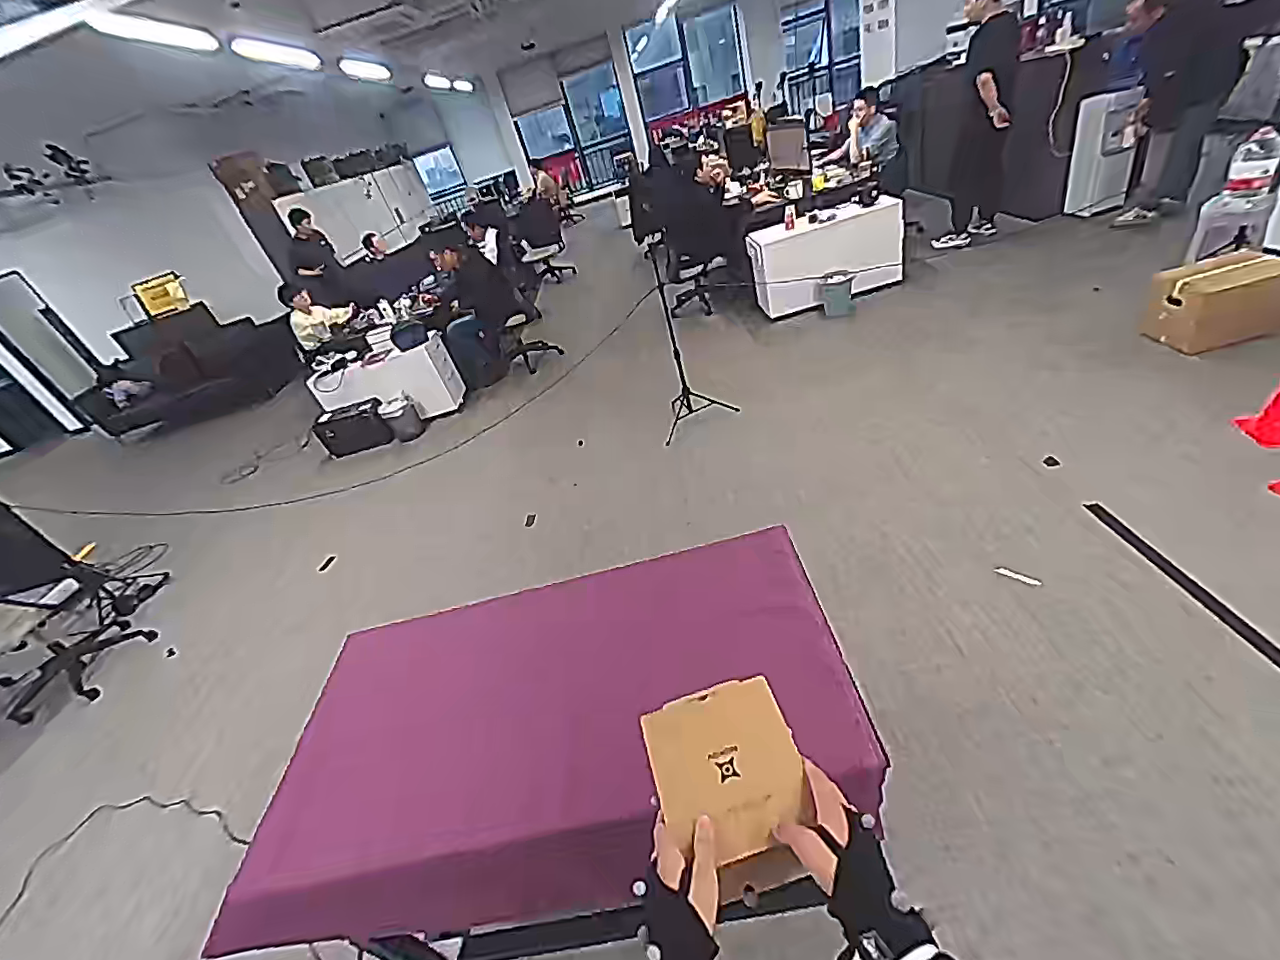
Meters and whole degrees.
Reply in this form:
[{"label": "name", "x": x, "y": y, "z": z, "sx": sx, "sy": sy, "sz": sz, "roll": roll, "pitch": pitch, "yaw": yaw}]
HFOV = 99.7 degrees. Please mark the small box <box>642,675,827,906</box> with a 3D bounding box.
[{"label": "small box", "x": 0.111, "y": 0.379, "z": 0.664, "sx": 0.168, "sy": 0.176, "sz": 0.179, "roll": -17, "pitch": 41, "yaw": -2}]
